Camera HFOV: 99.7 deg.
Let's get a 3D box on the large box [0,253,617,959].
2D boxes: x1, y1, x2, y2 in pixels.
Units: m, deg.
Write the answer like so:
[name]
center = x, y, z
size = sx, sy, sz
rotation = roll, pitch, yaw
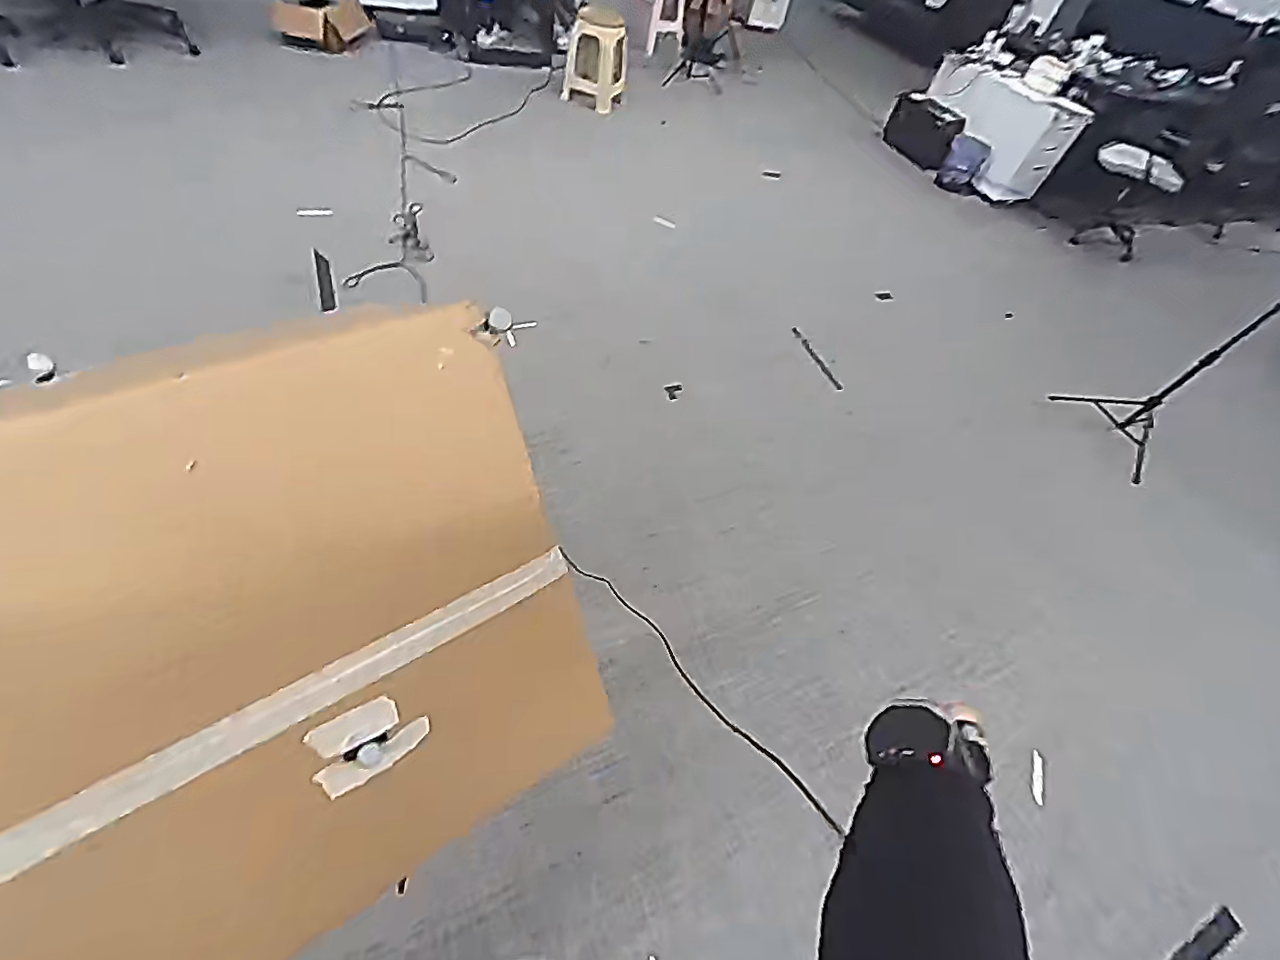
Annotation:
[large box]
center = -0.289, 0.063, 0.366
size = 0.408, 0.320, 0.320
rotation = -26, 29, -27
